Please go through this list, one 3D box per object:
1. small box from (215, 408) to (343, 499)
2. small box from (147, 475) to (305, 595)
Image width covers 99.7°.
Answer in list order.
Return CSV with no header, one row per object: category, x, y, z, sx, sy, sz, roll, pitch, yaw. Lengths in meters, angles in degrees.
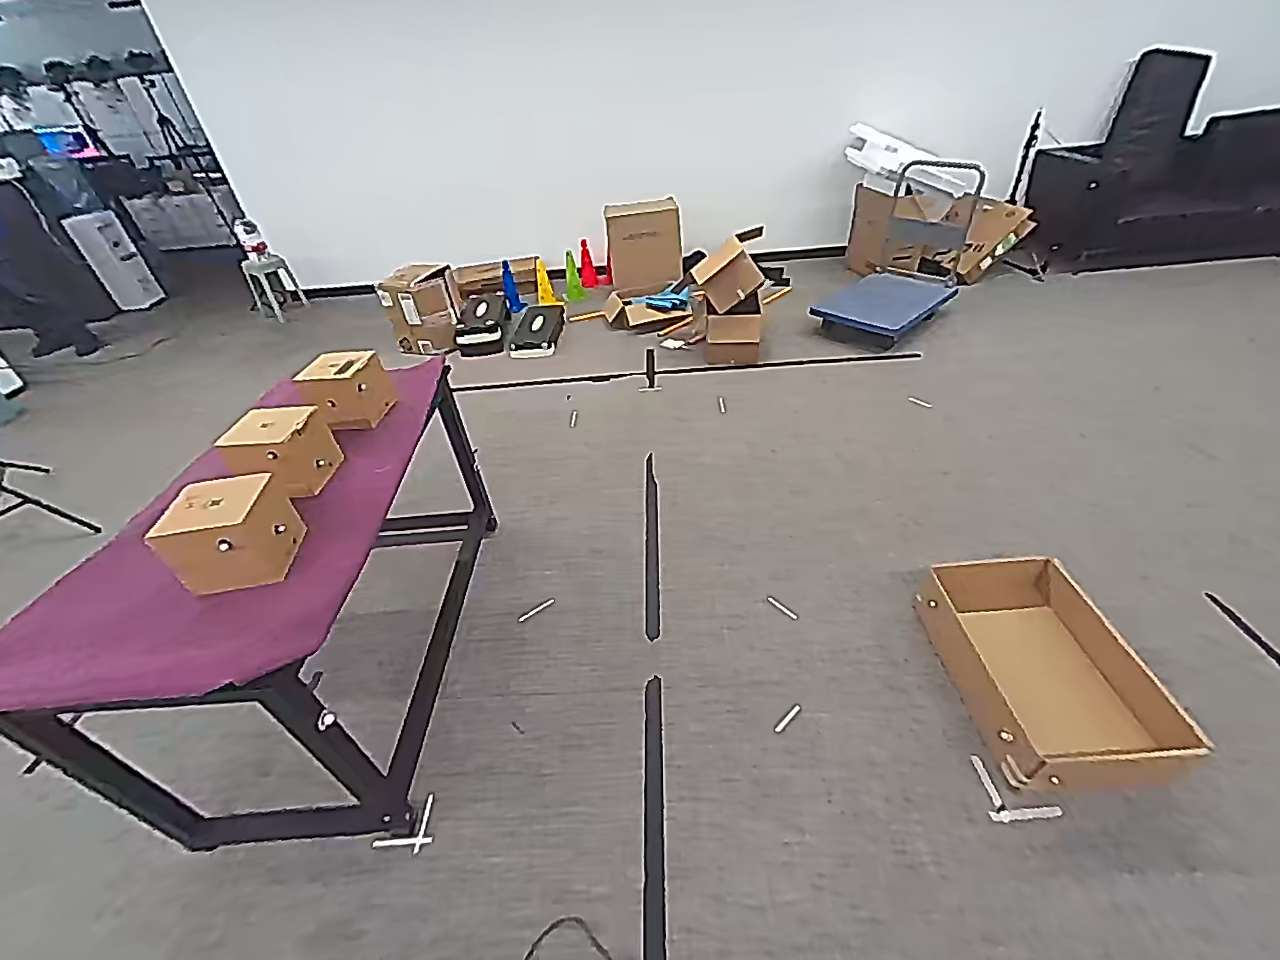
small box,-0.890,-0.062,1.352,0.179,0.176,0.168,-3,38,3
small box,-0.835,0.114,1.117,0.179,0.176,0.168,-9,38,-4
